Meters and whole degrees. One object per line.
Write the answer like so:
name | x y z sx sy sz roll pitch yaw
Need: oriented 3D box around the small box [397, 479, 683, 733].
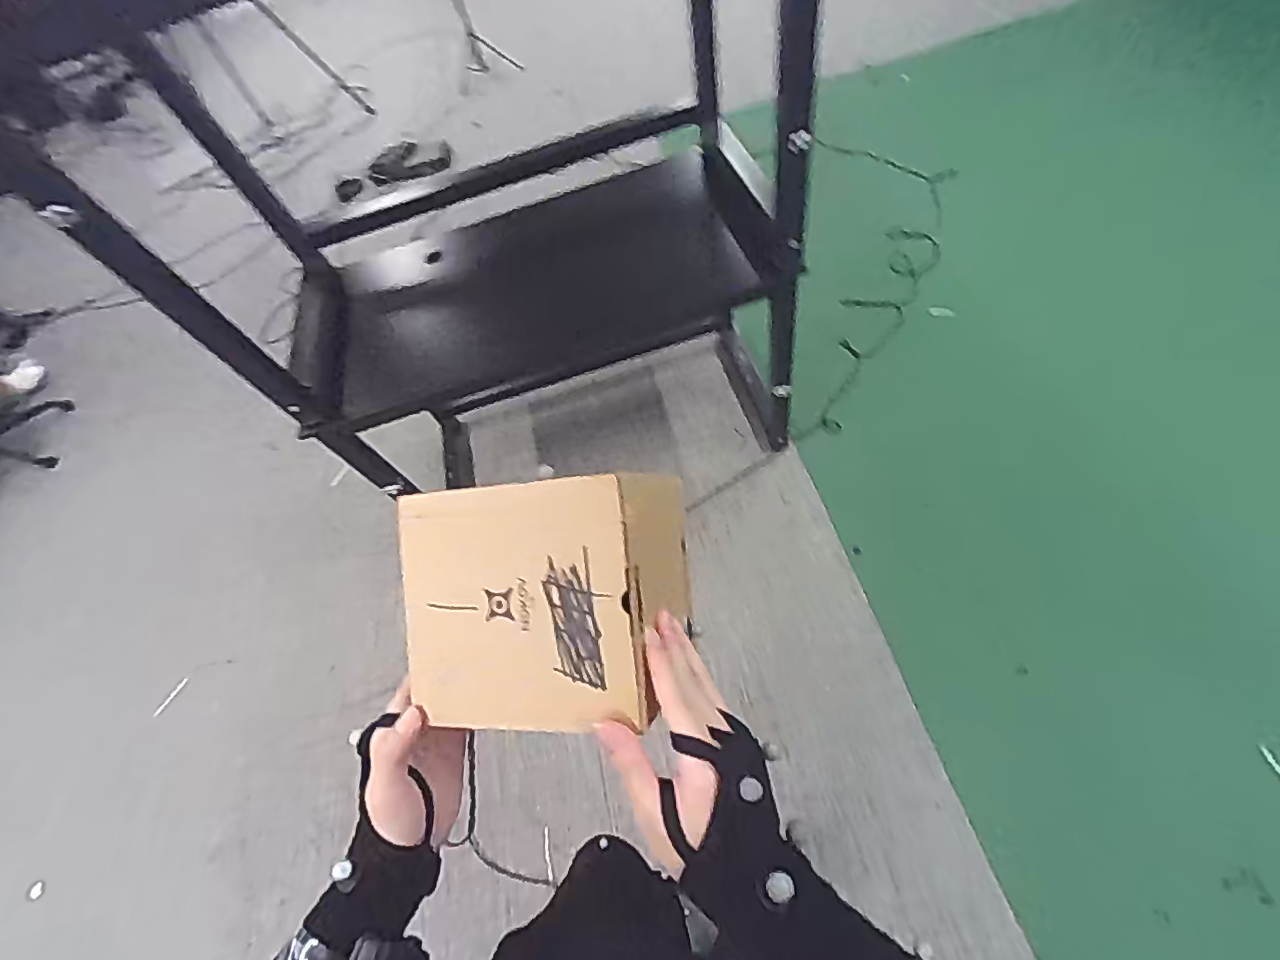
small box | -0.066 0.089 0.444 0.179 0.176 0.168 -6 86 17
